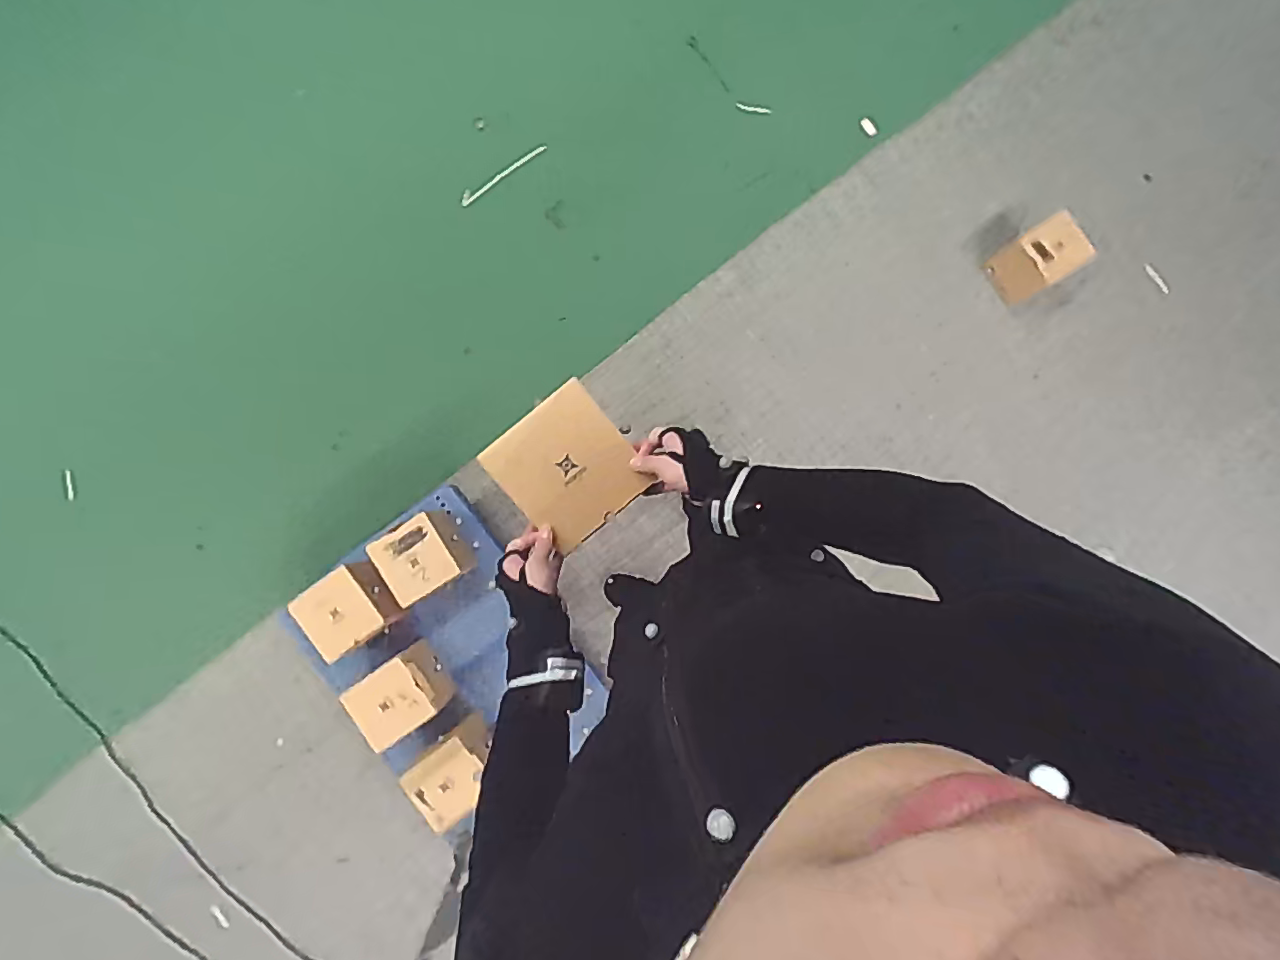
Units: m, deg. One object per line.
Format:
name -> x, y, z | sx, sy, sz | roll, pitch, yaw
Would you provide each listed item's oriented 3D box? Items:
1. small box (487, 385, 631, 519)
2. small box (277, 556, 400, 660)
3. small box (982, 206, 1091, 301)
small box -> -0.108, -0.043, 0.776 | 0.179, 0.176, 0.168 | -5, 97, -4
small box -> -0.735, 0.308, 1.343 | 0.168, 0.176, 0.179 | -36, 90, -4
small box -> 1.177, -0.673, 1.628 | 0.179, 0.176, 0.168 | -34, 89, -4
